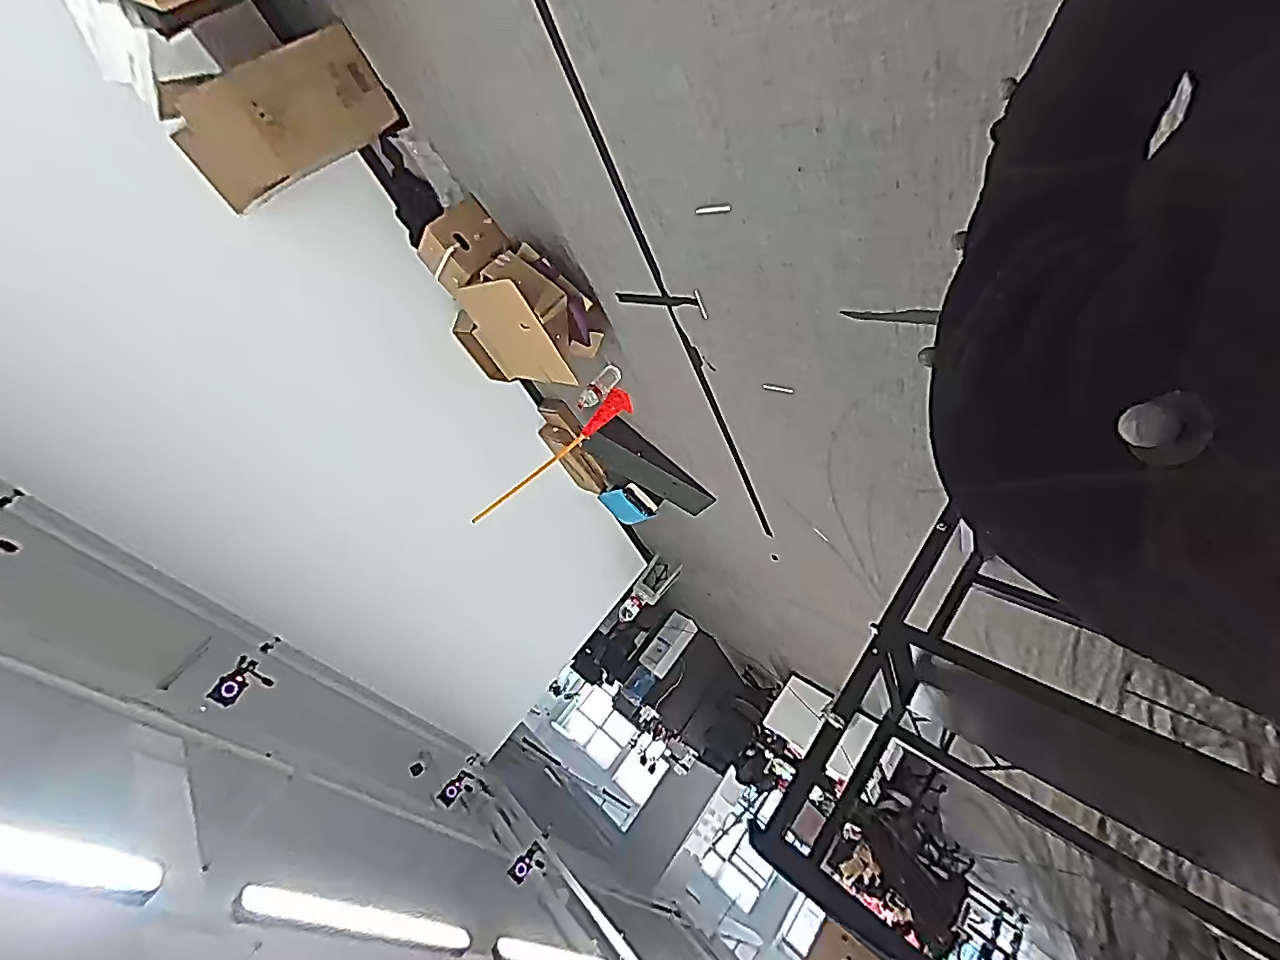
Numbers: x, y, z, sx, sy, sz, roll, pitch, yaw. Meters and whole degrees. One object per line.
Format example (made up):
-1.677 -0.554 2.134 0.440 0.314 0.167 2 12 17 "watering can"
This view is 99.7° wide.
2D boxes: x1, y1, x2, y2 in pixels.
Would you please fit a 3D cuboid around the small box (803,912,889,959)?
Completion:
0.514 1.219 1.339 0.168 0.176 0.179 20 153 42 "small box"
